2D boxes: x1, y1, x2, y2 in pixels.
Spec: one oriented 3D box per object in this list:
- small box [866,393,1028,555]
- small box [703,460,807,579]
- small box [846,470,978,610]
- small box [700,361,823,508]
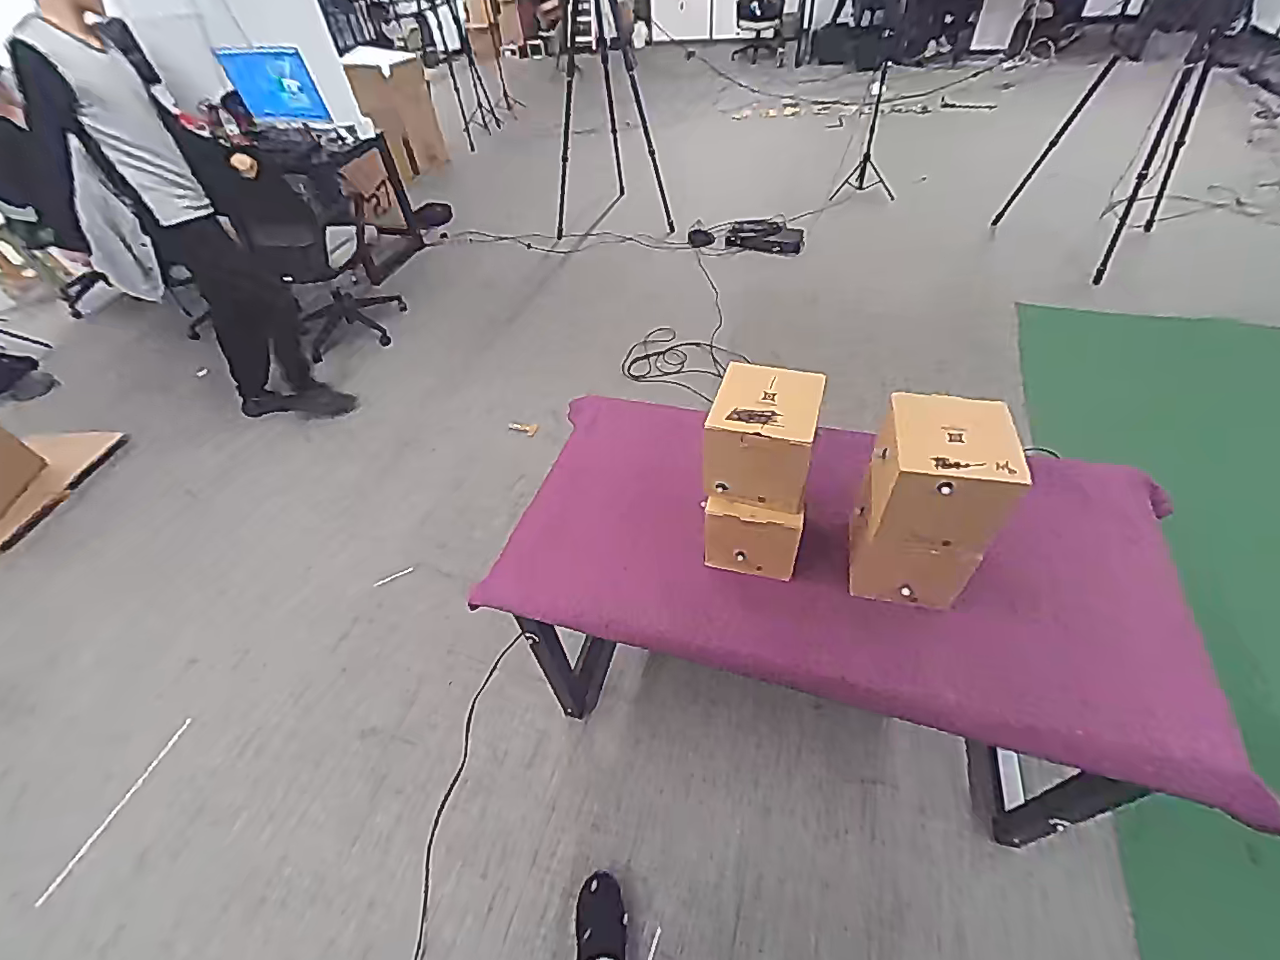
[{"bbox_3d":[0.456,-0.011,0.838,0.168,0.176,0.179,7,48,12],"label":"small box"},{"bbox_3d":[0.214,0.059,1.025,0.168,0.176,0.179,9,50,13],"label":"small box"},{"bbox_3d":[0.467,0.101,0.958,0.168,0.176,0.179,8,49,13],"label":"small box"},{"bbox_3d":[0.205,-0.076,0.926,0.168,0.176,0.179,12,49,16],"label":"small box"}]
